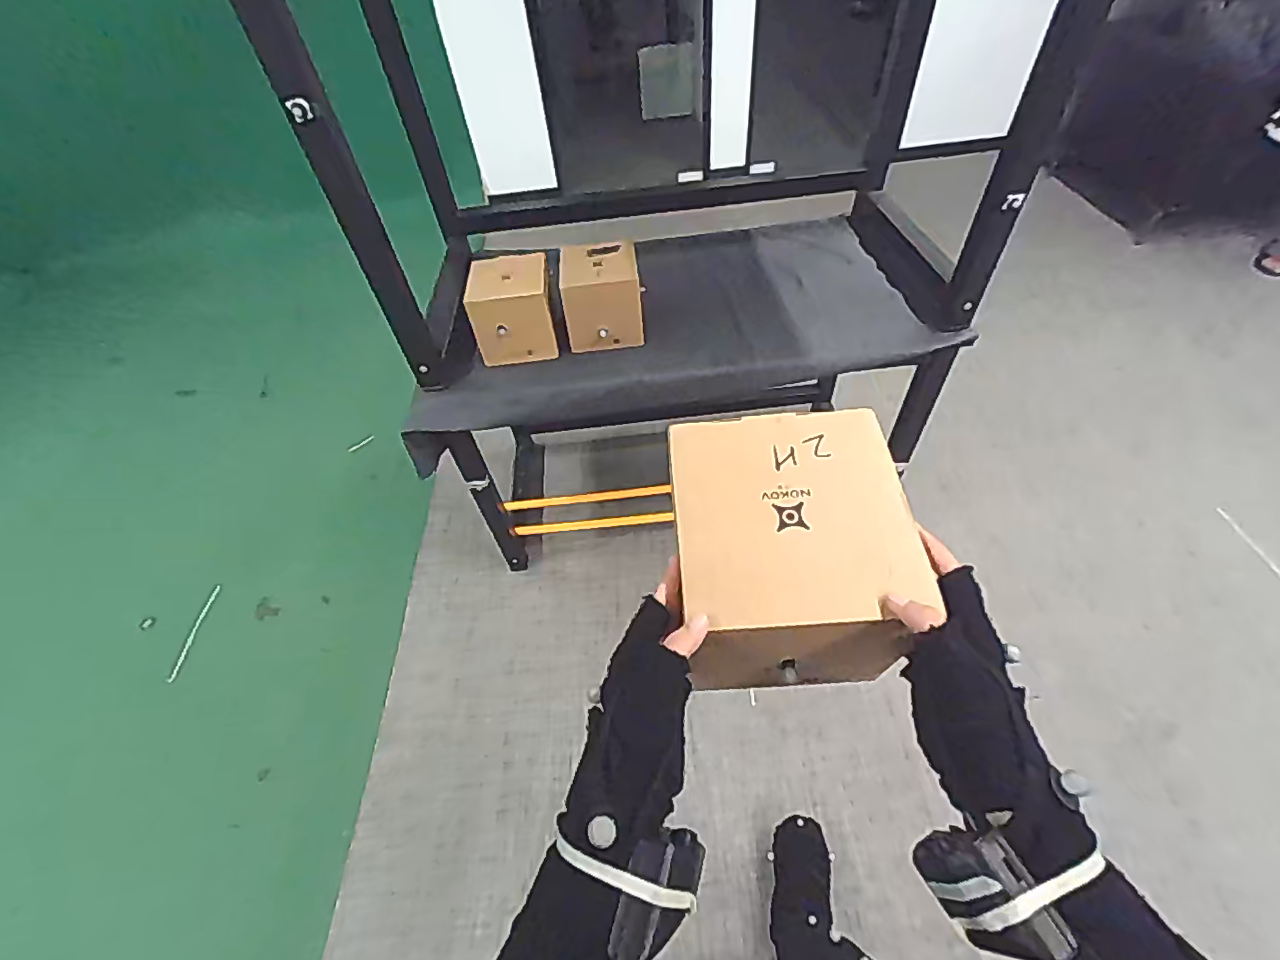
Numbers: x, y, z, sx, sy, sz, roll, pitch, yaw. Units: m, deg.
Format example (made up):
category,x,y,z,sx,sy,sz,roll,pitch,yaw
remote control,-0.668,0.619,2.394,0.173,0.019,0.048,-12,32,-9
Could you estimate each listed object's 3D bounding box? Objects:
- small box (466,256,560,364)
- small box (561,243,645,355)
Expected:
category,x,y,z,sx,sy,sz,roll,pitch,yaw
small box,-0.274,-0.373,1.209,0.168,0.176,0.179,-7,49,-1
small box,-0.080,-0.406,1.217,0.168,0.176,0.179,-7,50,1
